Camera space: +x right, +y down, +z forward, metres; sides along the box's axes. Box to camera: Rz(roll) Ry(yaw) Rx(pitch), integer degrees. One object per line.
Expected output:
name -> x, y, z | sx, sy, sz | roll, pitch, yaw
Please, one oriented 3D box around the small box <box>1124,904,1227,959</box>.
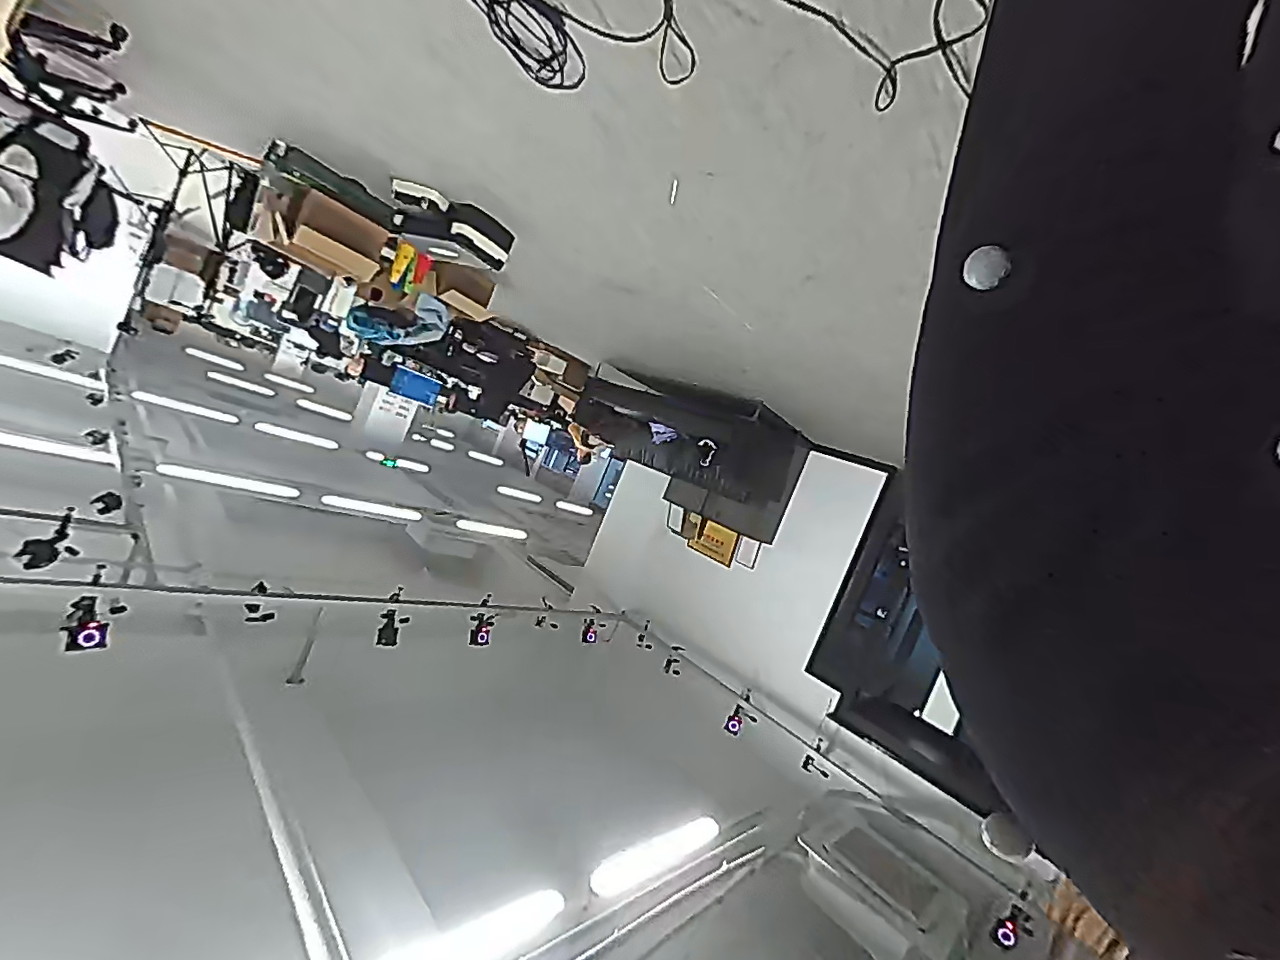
small box -> 1.504, 1.346, 1.521 | 0.179, 0.176, 0.168 | 21, -175, -41
